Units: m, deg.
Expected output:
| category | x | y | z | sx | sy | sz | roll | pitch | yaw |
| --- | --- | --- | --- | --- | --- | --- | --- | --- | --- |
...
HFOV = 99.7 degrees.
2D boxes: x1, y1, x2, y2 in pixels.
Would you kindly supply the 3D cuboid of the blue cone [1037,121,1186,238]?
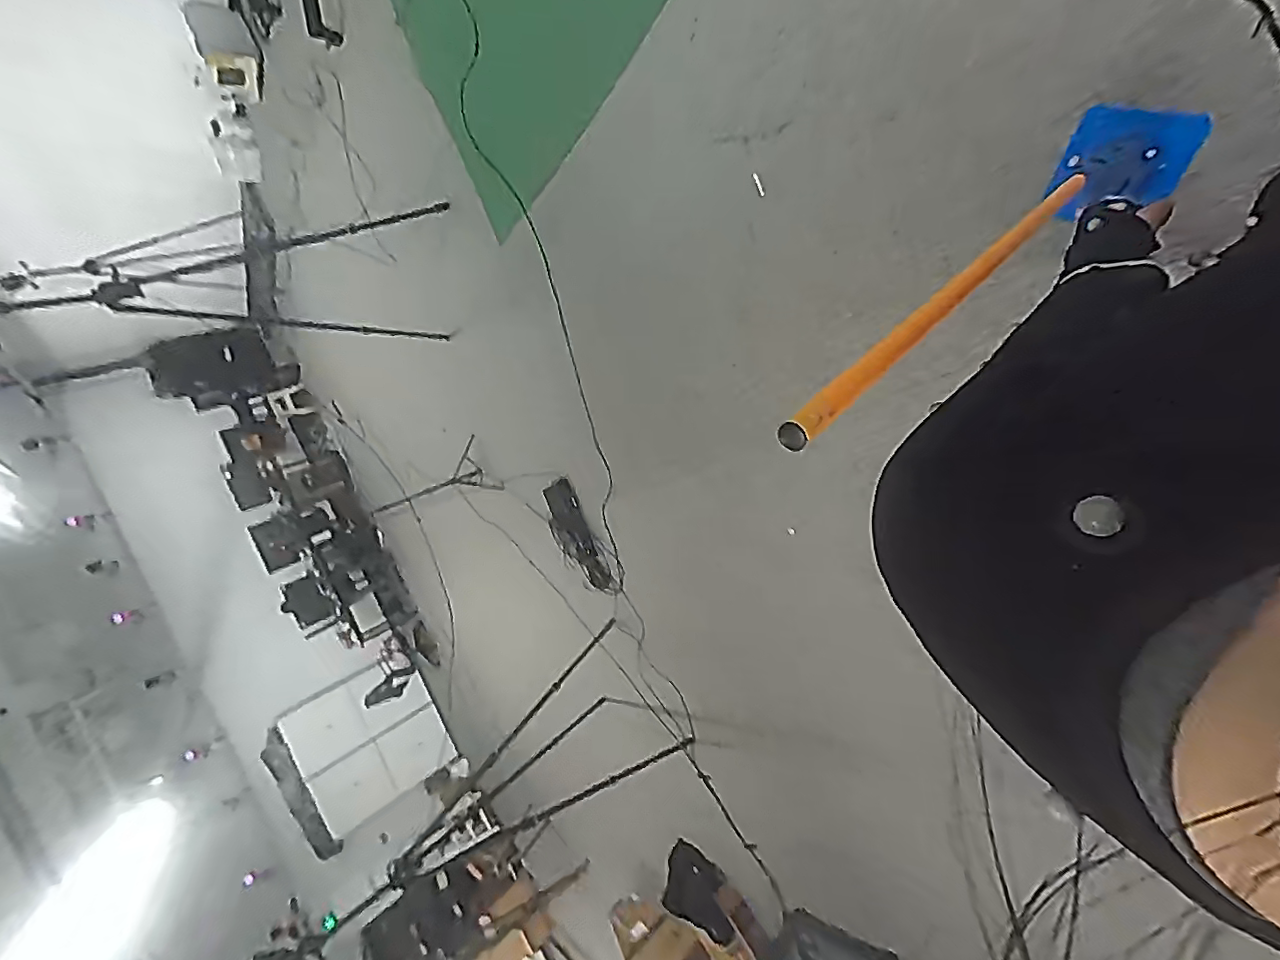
| category | x | y | z | sx | sy | sz | roll | pitch | yaw |
| --- | --- | --- | --- | --- | --- | --- | --- | --- | --- |
| blue cone | 0.797 | -0.519 | 0.958 | 0.192 | 0.380 | 0.193 | 34 | 136 | 31 |
